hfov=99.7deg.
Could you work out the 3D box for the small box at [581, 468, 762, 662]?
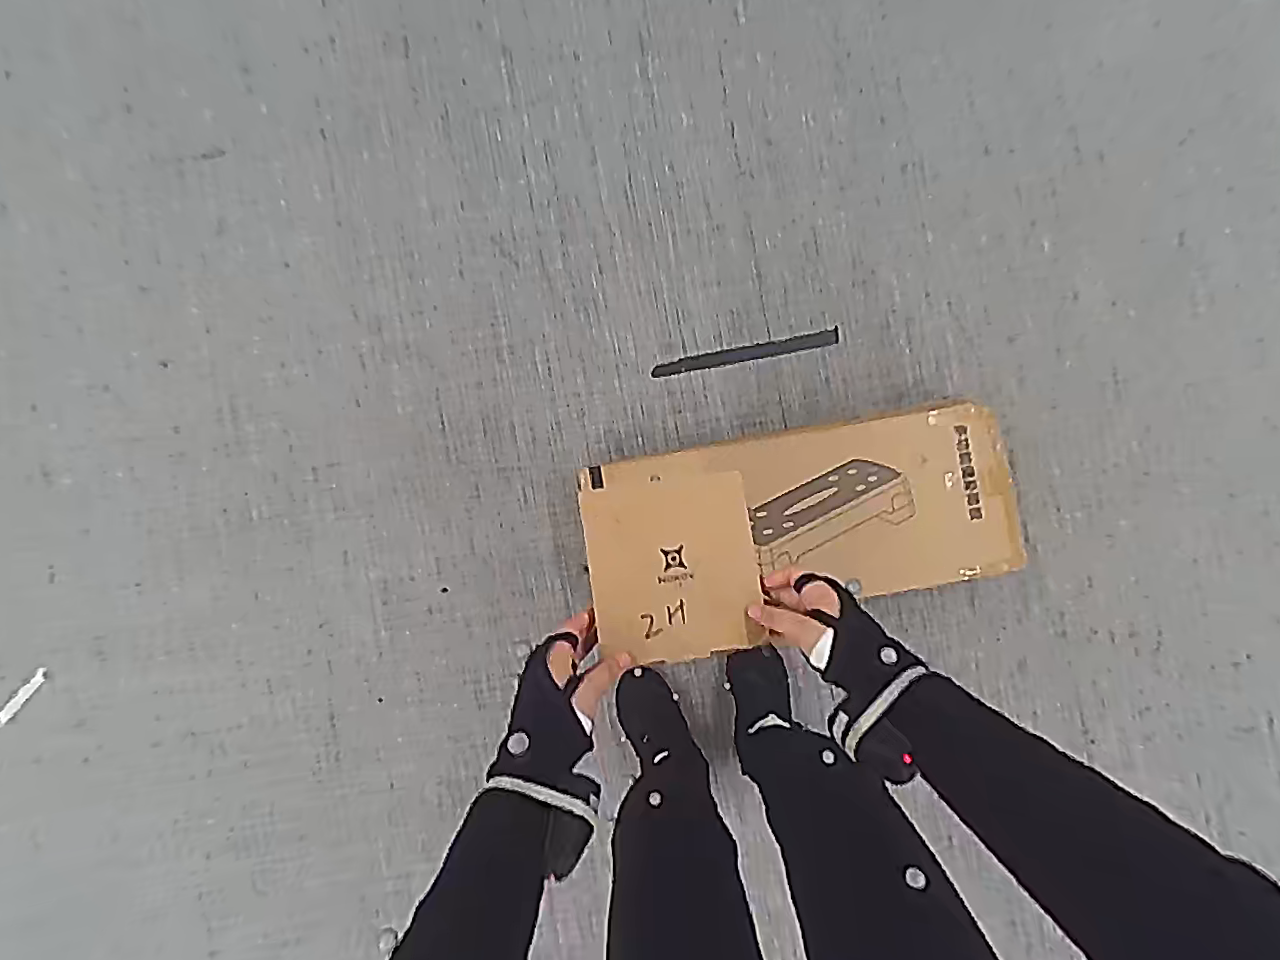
[{"bbox_3d":[0.025,0.093,0.617,0.168,0.176,0.179,-8,83,-4],"label":"small box"}]
